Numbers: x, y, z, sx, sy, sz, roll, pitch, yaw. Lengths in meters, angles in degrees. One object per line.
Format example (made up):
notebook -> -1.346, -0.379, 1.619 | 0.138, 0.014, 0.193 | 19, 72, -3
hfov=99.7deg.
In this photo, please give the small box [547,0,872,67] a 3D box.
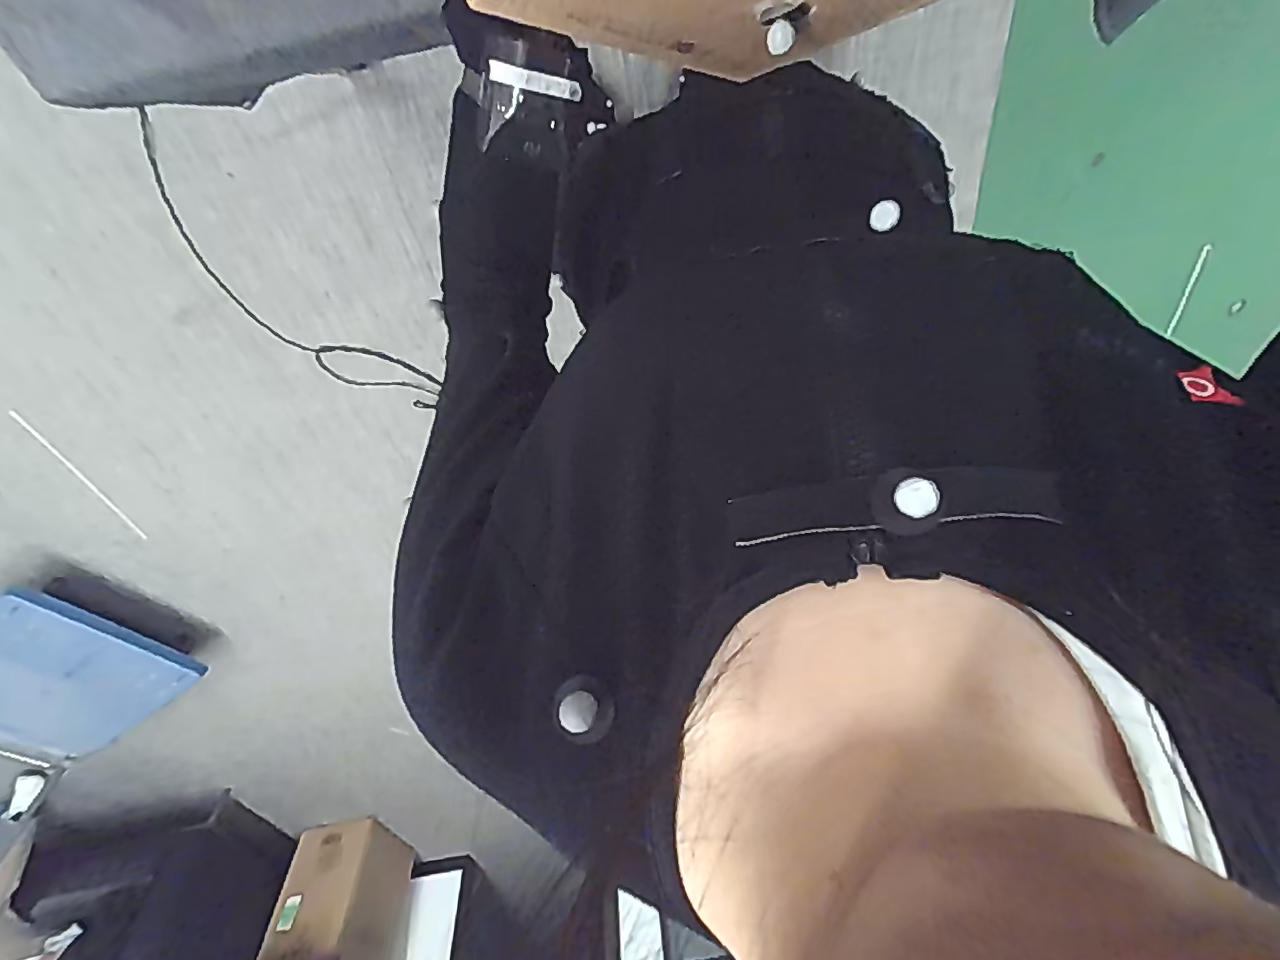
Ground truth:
small box -> 0.035, -0.284, 0.191 | 0.168, 0.176, 0.179 | -6, 113, -28
